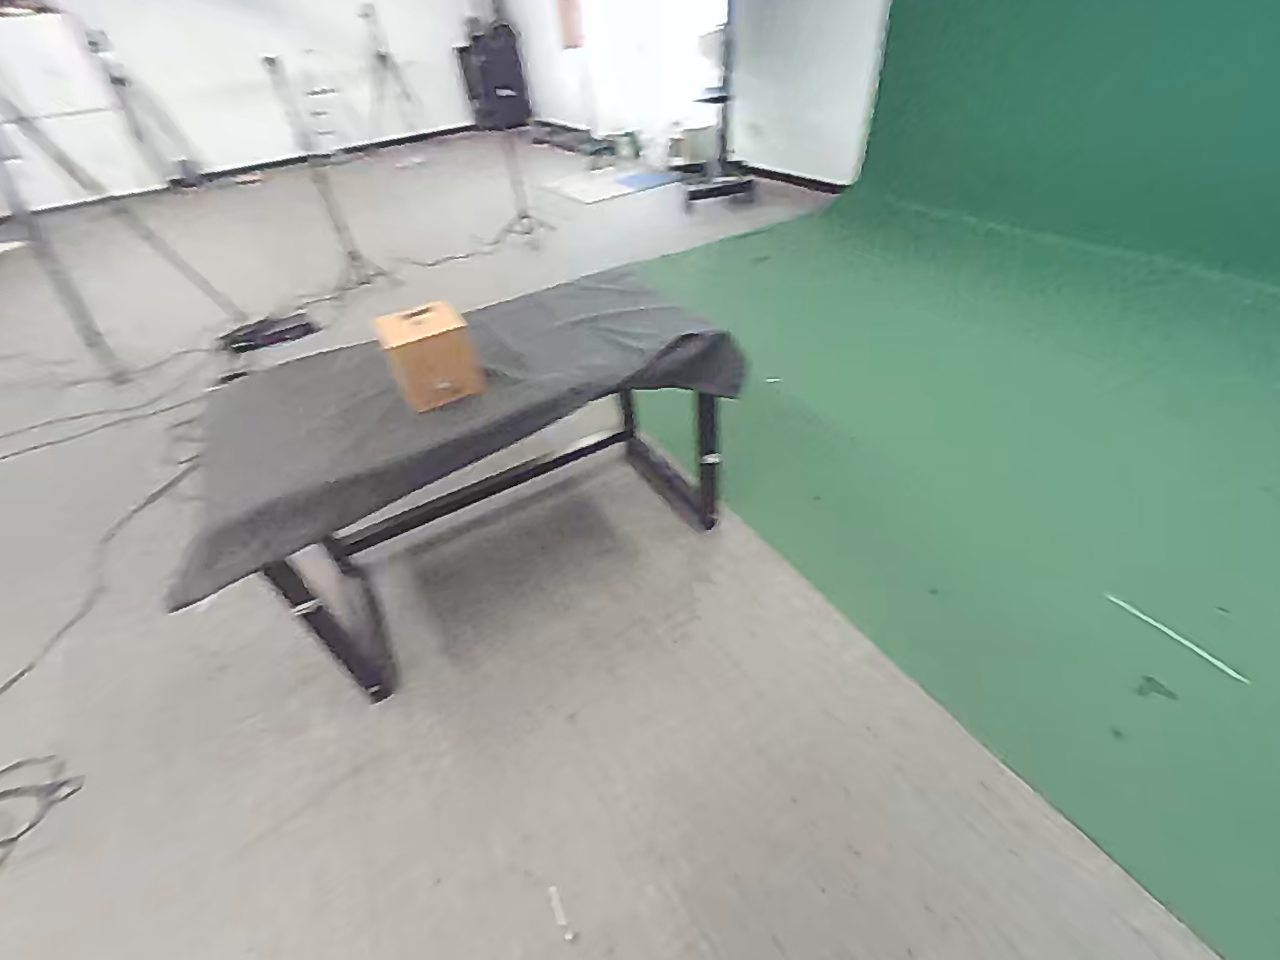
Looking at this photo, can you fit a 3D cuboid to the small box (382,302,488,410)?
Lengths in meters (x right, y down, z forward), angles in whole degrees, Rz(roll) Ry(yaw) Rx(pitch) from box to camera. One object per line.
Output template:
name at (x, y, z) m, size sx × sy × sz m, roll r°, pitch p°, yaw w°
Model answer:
small box at (-0.476, -0.290, 1.262) m, size 0.168 × 0.176 × 0.179 m, roll -24°, pitch 45°, yaw -19°
